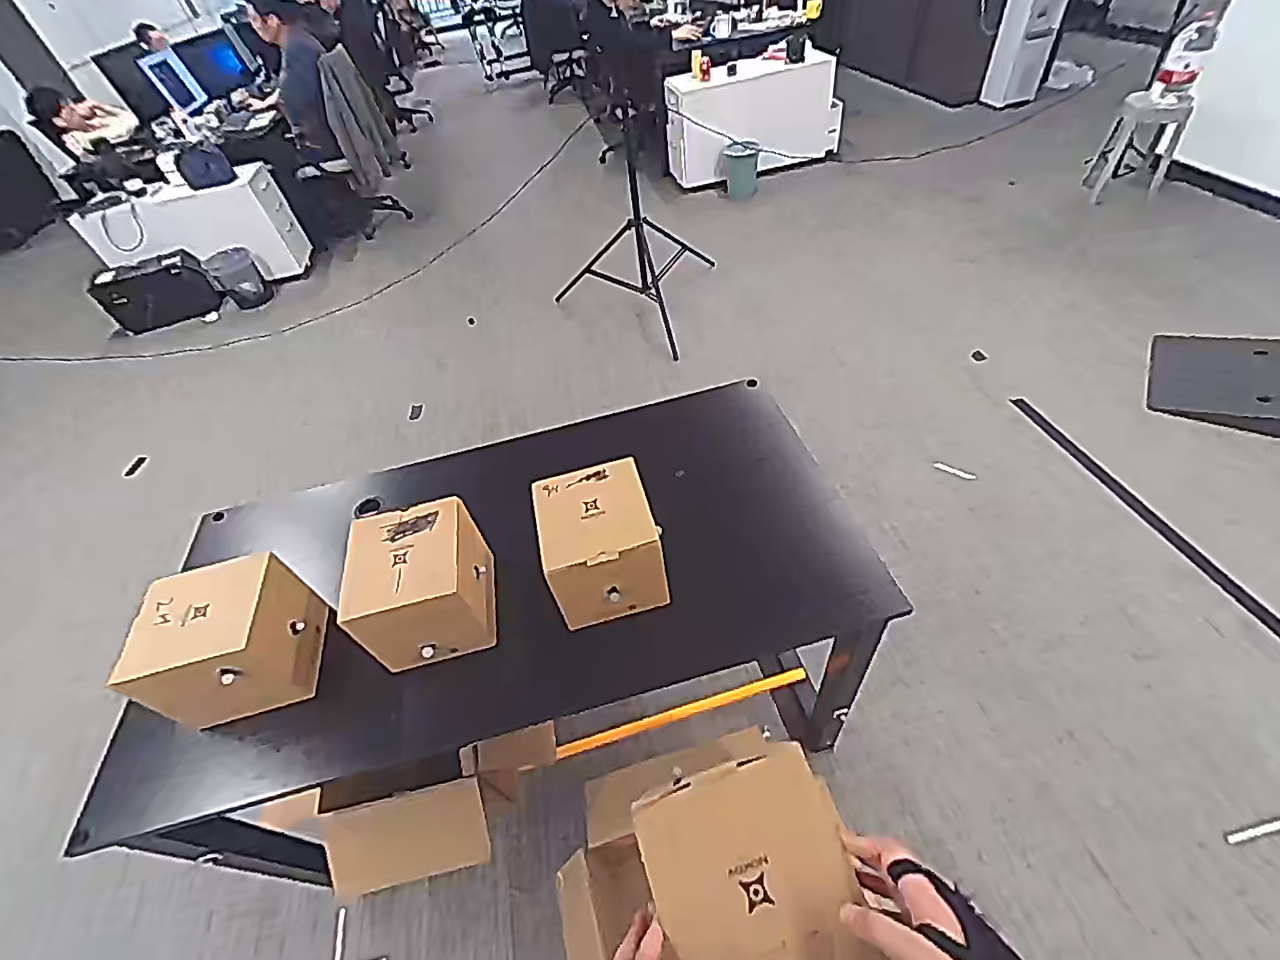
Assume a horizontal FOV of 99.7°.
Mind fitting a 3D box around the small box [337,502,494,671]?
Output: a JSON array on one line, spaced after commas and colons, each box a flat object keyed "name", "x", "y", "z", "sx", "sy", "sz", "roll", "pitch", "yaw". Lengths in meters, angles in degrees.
[{"name": "small box", "x": -0.333, "y": 0.166, "z": 0.838, "sx": 0.168, "sy": 0.176, "sz": 0.179, "roll": -14, "pitch": 48, "yaw": -3}]

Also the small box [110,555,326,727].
[{"name": "small box", "x": -0.606, "y": 0.242, "z": 0.810, "sx": 0.179, "sy": 0.176, "sz": 0.168, "roll": -15, "pitch": 47, "yaw": -5}]

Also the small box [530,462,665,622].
[{"name": "small box", "x": -0.064, "y": 0.104, "z": 0.850, "sx": 0.168, "sy": 0.176, "sz": 0.179, "roll": -15, "pitch": 48, "yaw": -4}]

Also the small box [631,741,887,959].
[{"name": "small box", "x": 0.100, "y": 0.371, "z": 0.520, "sx": 0.168, "sy": 0.176, "sz": 0.179, "roll": -19, "pitch": 63, "yaw": -3}]
